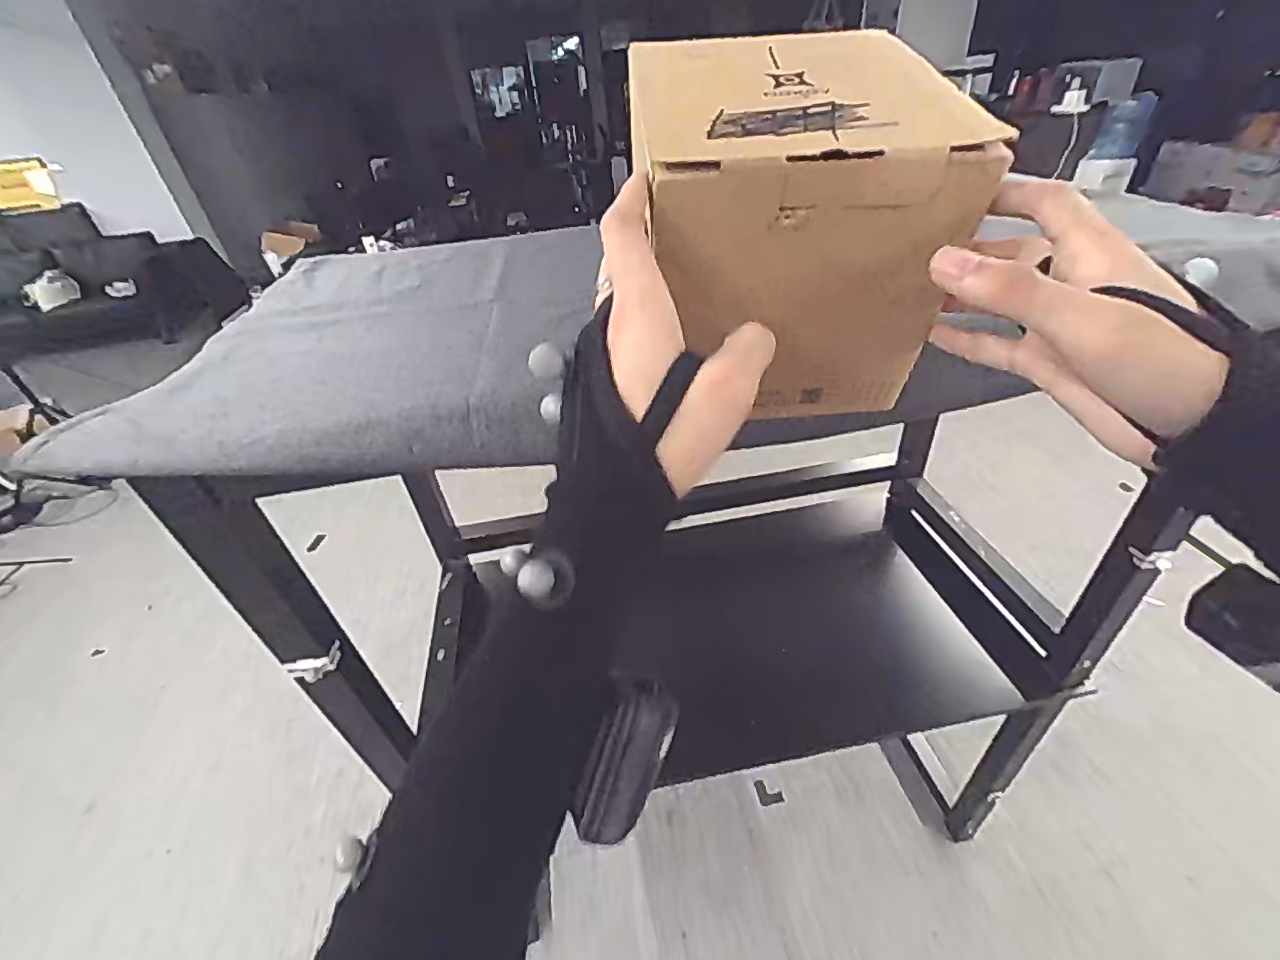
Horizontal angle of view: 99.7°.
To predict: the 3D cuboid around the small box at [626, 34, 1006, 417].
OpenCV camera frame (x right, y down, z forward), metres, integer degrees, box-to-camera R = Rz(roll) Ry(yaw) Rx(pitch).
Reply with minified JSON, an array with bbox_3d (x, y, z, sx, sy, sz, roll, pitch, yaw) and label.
[{"bbox_3d":[0.081,-0.154,0.352,0.168,0.176,0.179,-4,54,-2],"label":"small box"}]
